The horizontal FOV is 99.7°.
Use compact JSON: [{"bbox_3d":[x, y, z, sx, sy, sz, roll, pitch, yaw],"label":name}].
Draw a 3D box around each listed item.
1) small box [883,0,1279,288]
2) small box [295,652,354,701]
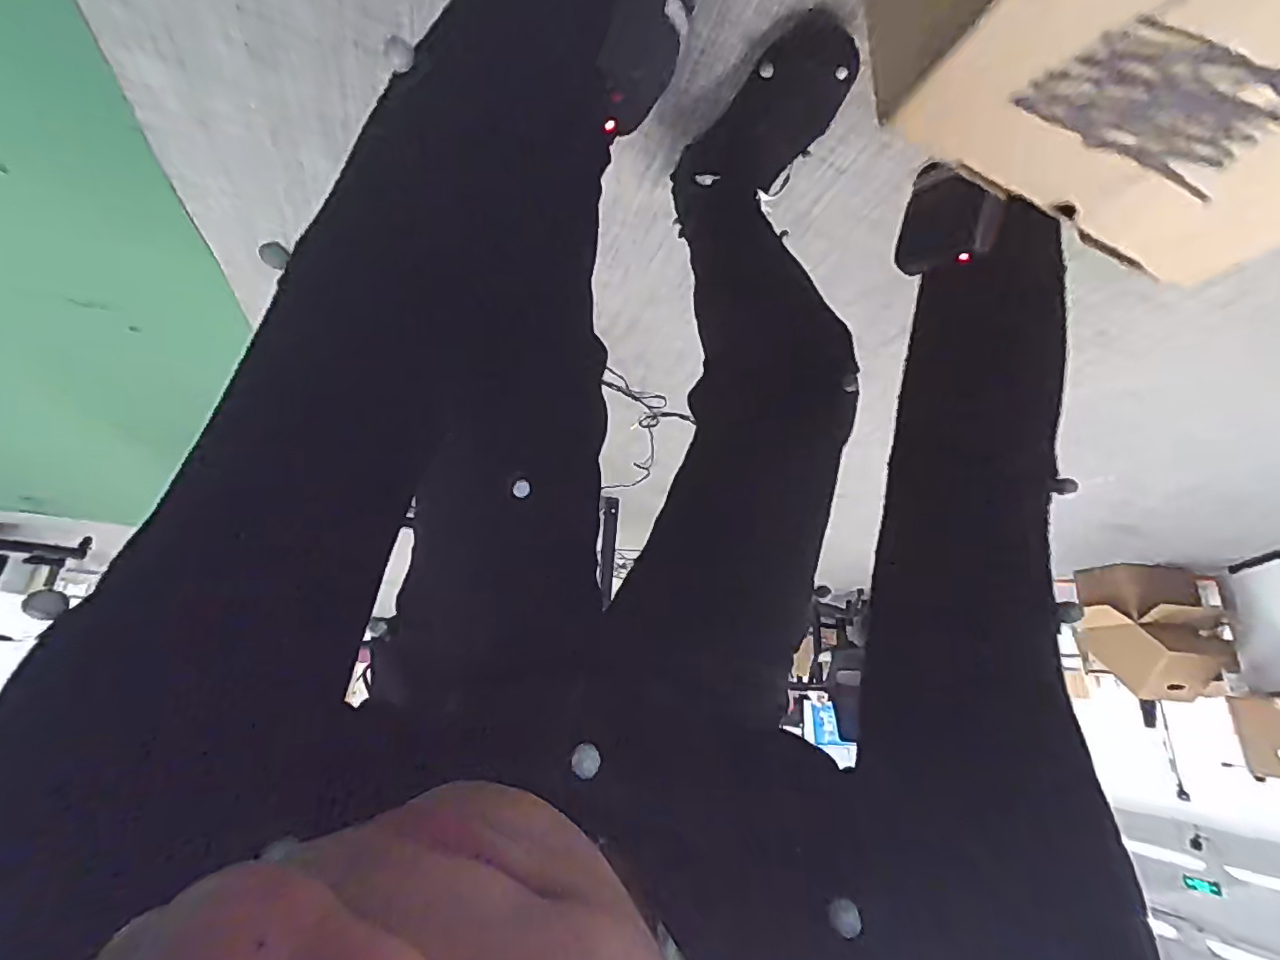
[{"bbox_3d":[0.192,-0.196,0.151,0.168,0.176,0.179,12,158,-21],"label":"small box"},{"bbox_3d":[-1.233,0.772,2.125,0.168,0.176,0.179,9,160,-21],"label":"small box"}]
